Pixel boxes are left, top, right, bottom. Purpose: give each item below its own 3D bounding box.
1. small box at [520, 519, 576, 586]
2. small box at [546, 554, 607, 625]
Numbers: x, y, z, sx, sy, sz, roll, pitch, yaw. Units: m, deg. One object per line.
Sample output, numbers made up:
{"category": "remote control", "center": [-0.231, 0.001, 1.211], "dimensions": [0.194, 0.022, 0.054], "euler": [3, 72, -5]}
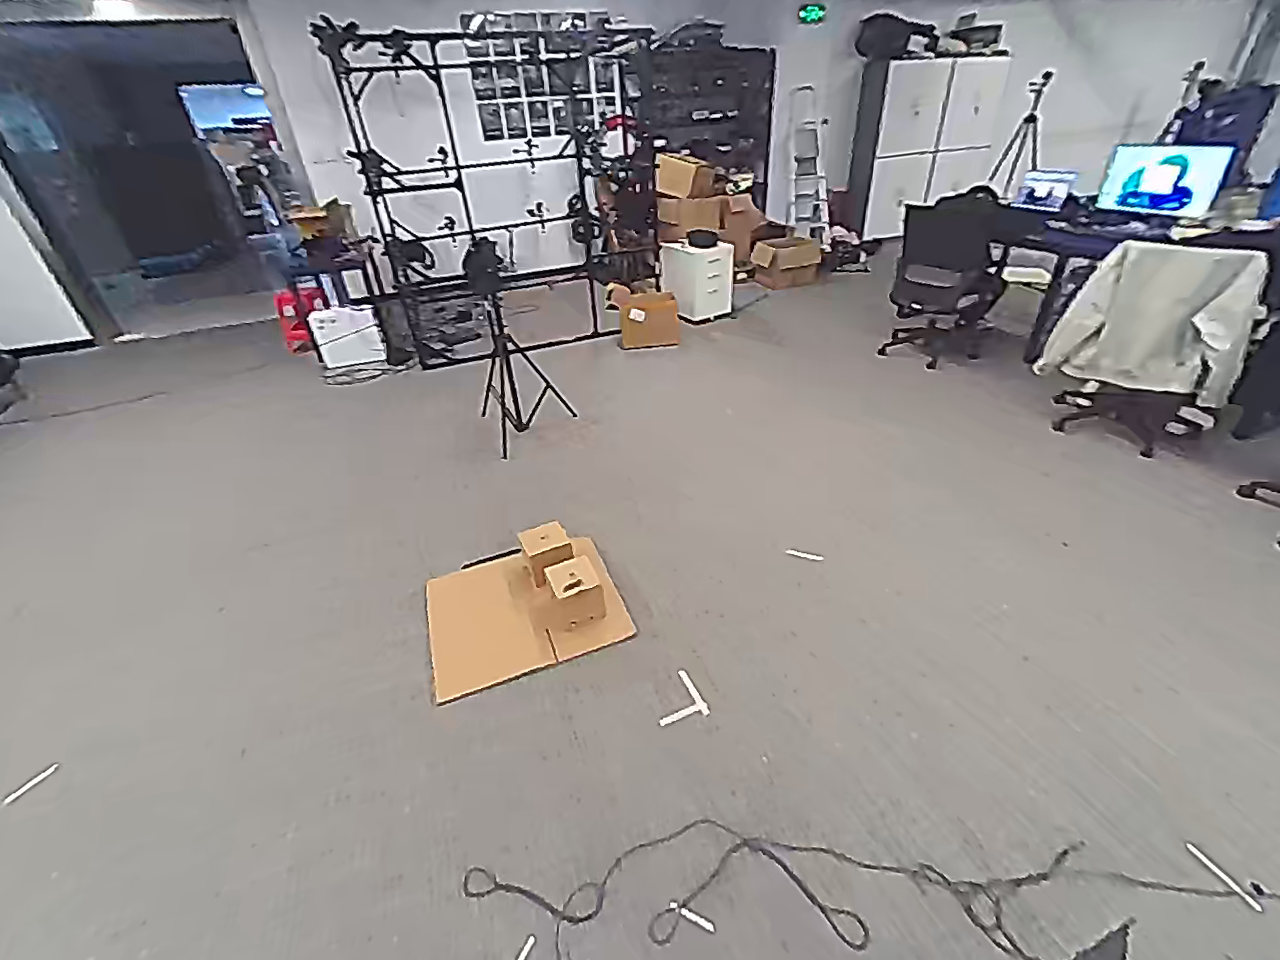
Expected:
{"category": "small box", "center": [-0.363, 0.291, 2.167], "dimensions": [0.179, 0.176, 0.168], "euler": [-19, 35, -20]}
{"category": "small box", "center": [-0.229, 0.406, 1.976], "dimensions": [0.168, 0.176, 0.179], "euler": [-17, 36, -18]}
